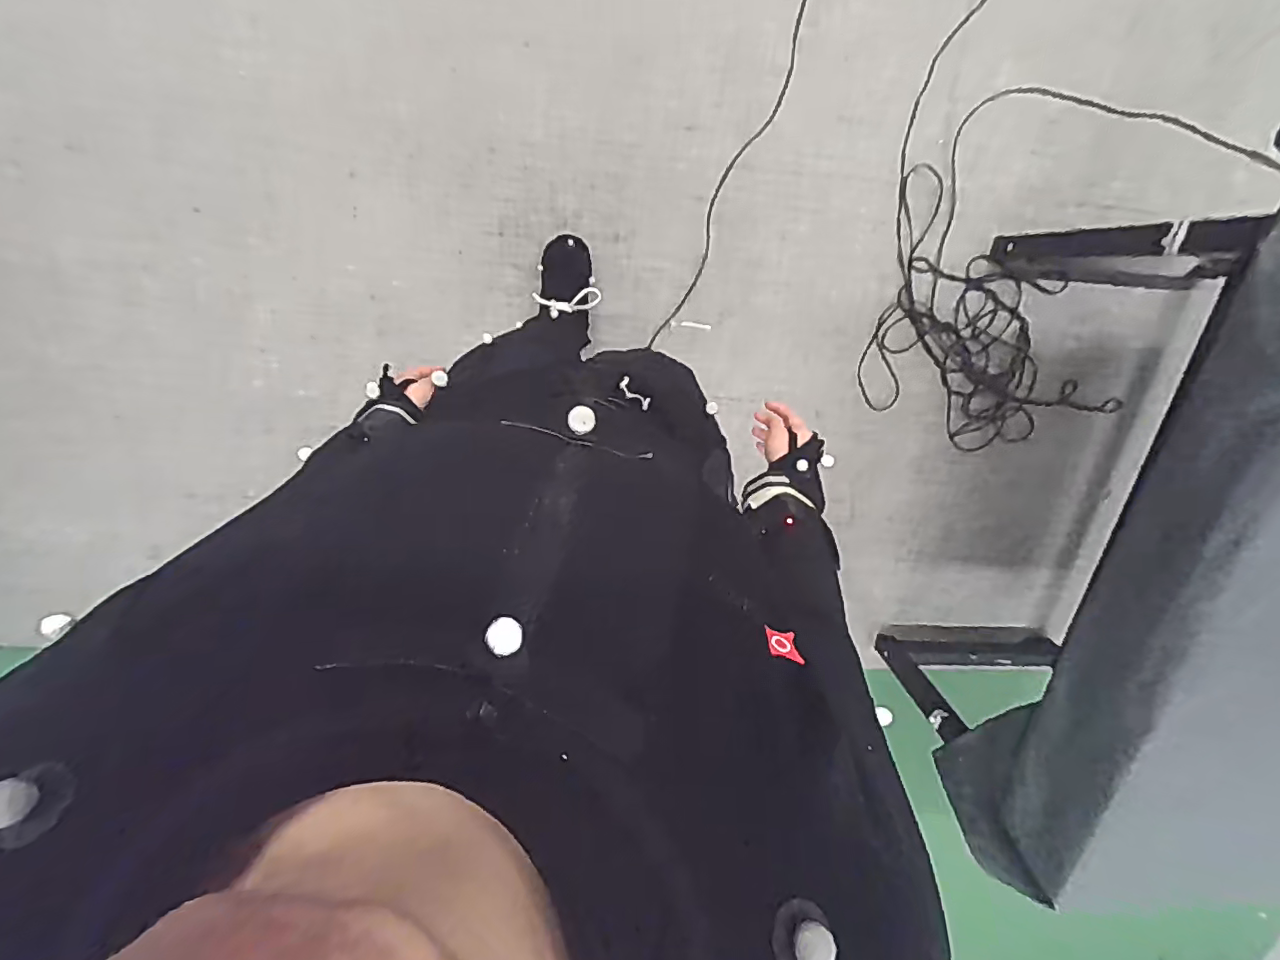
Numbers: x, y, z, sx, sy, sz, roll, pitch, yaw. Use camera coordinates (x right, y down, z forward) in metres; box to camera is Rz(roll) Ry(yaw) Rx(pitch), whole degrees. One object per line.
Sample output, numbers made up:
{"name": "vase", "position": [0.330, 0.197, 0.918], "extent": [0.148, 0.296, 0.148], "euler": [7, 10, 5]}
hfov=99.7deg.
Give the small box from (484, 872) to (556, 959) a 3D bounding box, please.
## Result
{"name": "small box", "position": [-0.306, 1.161, 1.405], "extent": [0.168, 0.176, 0.179], "euler": [2, 111, -7]}
